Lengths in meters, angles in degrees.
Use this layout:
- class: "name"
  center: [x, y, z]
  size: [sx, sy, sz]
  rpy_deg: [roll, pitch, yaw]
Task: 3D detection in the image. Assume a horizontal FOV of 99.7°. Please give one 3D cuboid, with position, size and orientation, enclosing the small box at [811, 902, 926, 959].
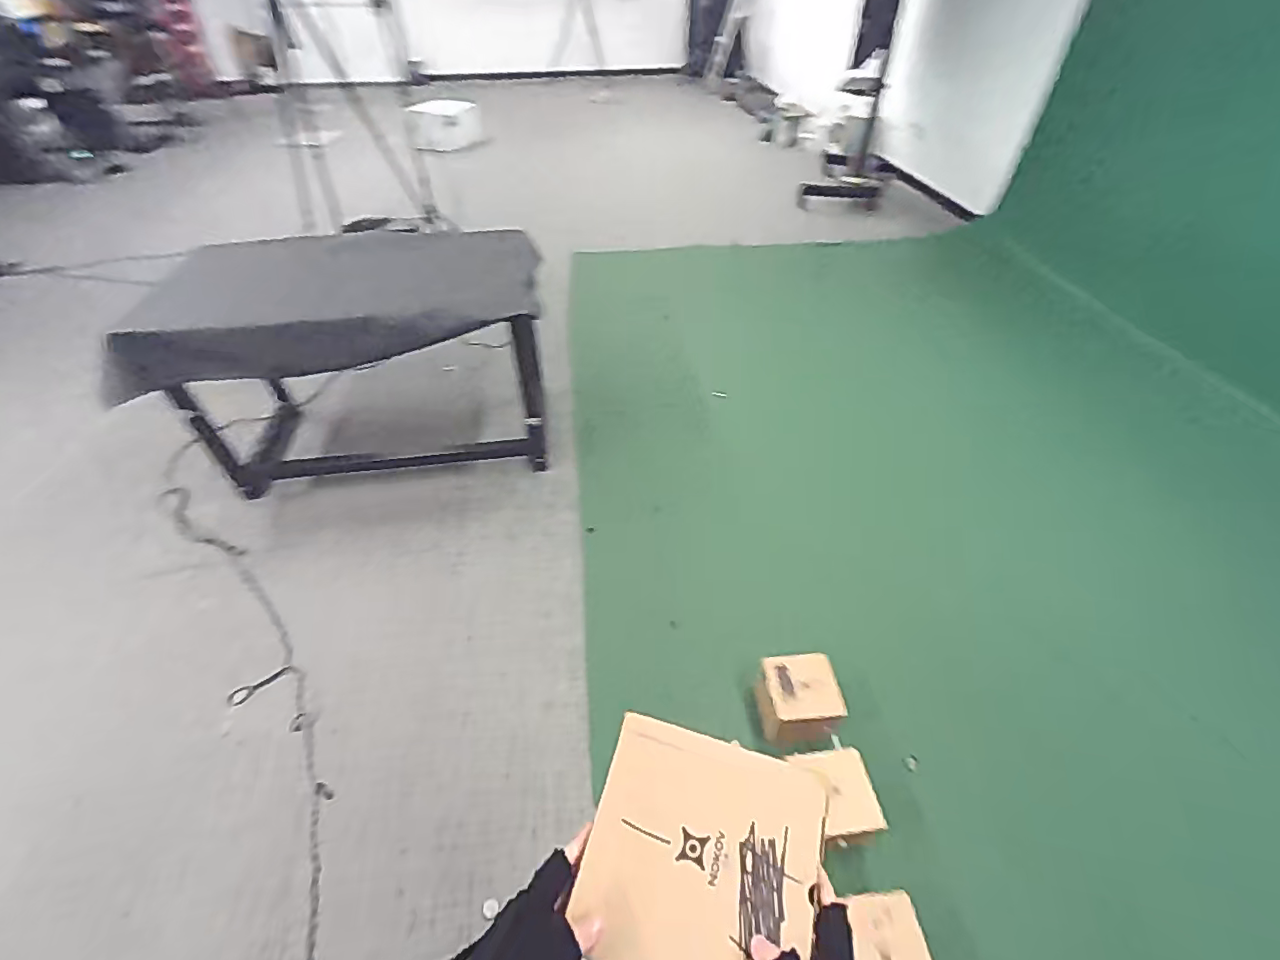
- class: "small box"
  center: [0.456, 0.961, 1.068]
  size: [0.168, 0.176, 0.179]
  rpy_deg: [-3, 45, -3]

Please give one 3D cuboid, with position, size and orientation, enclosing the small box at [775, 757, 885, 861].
- class: "small box"
  center: [0.434, 0.771, 1.266]
  size: [0.179, 0.176, 0.168]
  rpy_deg: [-6, 45, -4]
